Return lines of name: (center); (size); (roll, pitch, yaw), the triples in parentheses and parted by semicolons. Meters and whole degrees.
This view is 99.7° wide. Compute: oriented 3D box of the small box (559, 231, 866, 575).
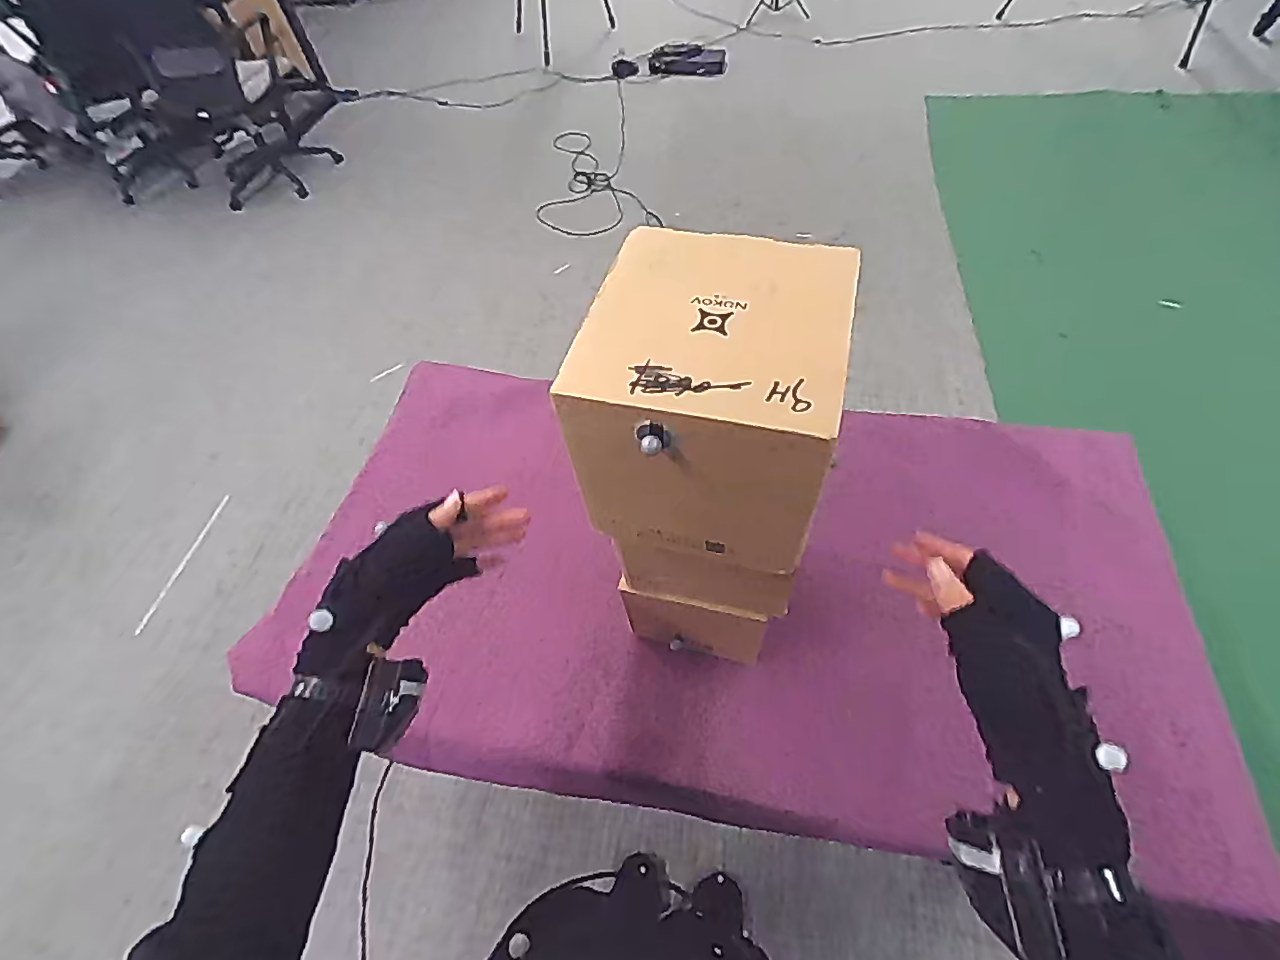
small box: (0.059, -0.056, 0.406); (0.168, 0.176, 0.179); (11, 57, 14)

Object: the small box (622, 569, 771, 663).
small box: (0.086, 0.108, 0.687); (0.168, 0.176, 0.179); (10, 58, 13)

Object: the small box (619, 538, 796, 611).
small box: (0.078, 0.018, 0.553); (0.179, 0.176, 0.168); (9, 57, 12)
